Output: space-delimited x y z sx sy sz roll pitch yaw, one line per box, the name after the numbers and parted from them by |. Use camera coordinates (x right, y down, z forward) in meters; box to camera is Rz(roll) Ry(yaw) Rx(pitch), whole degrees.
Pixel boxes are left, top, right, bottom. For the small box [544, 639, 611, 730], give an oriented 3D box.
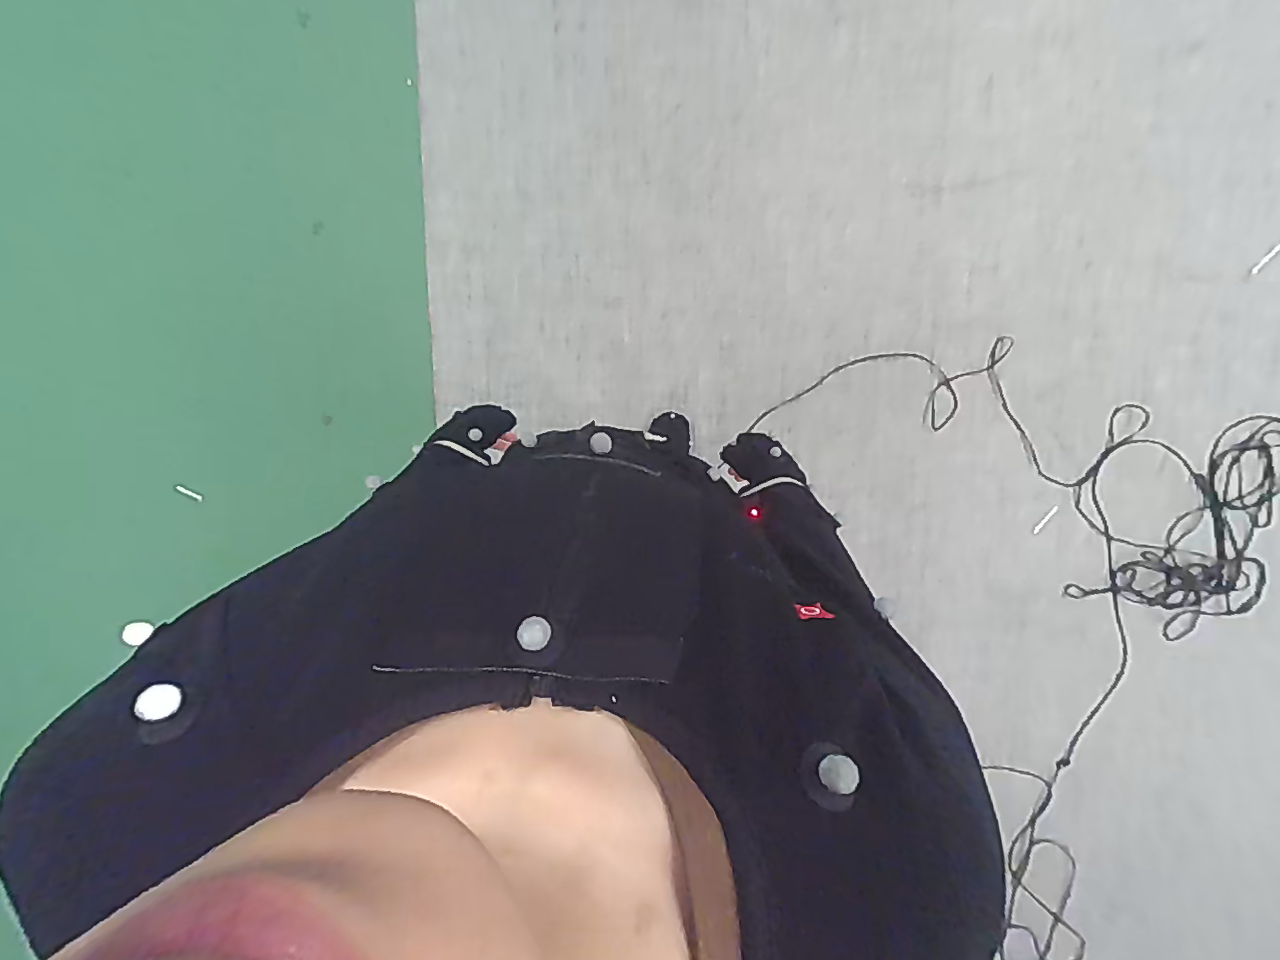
-0.164 0.550 1.465 0.168 0.176 0.179 1 96 0 | small box
